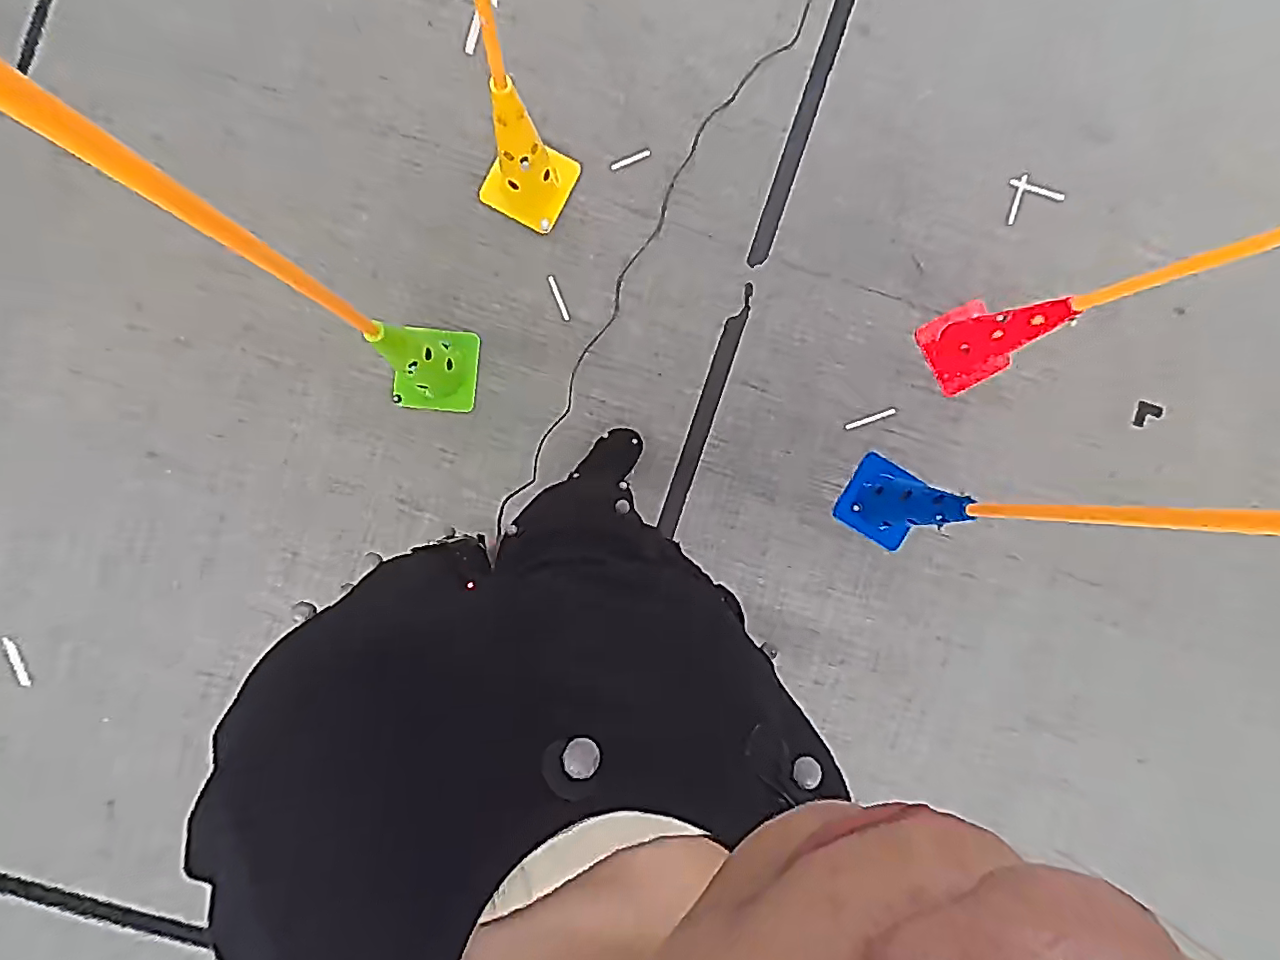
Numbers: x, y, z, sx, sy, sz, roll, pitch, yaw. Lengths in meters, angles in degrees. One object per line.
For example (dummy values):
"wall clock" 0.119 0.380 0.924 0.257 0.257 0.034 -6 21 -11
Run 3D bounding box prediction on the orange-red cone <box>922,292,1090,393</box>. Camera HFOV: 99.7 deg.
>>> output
"orange-red cone" 0.849 -0.344 1.221 0.199 0.360 0.198 -27 90 -1

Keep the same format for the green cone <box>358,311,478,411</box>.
"green cone" -0.496 -0.278 1.155 0.200 0.368 0.202 4 88 -3

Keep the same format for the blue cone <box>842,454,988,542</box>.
"blue cone" 0.638 0.047 1.224 0.193 0.380 0.192 33 88 -2
